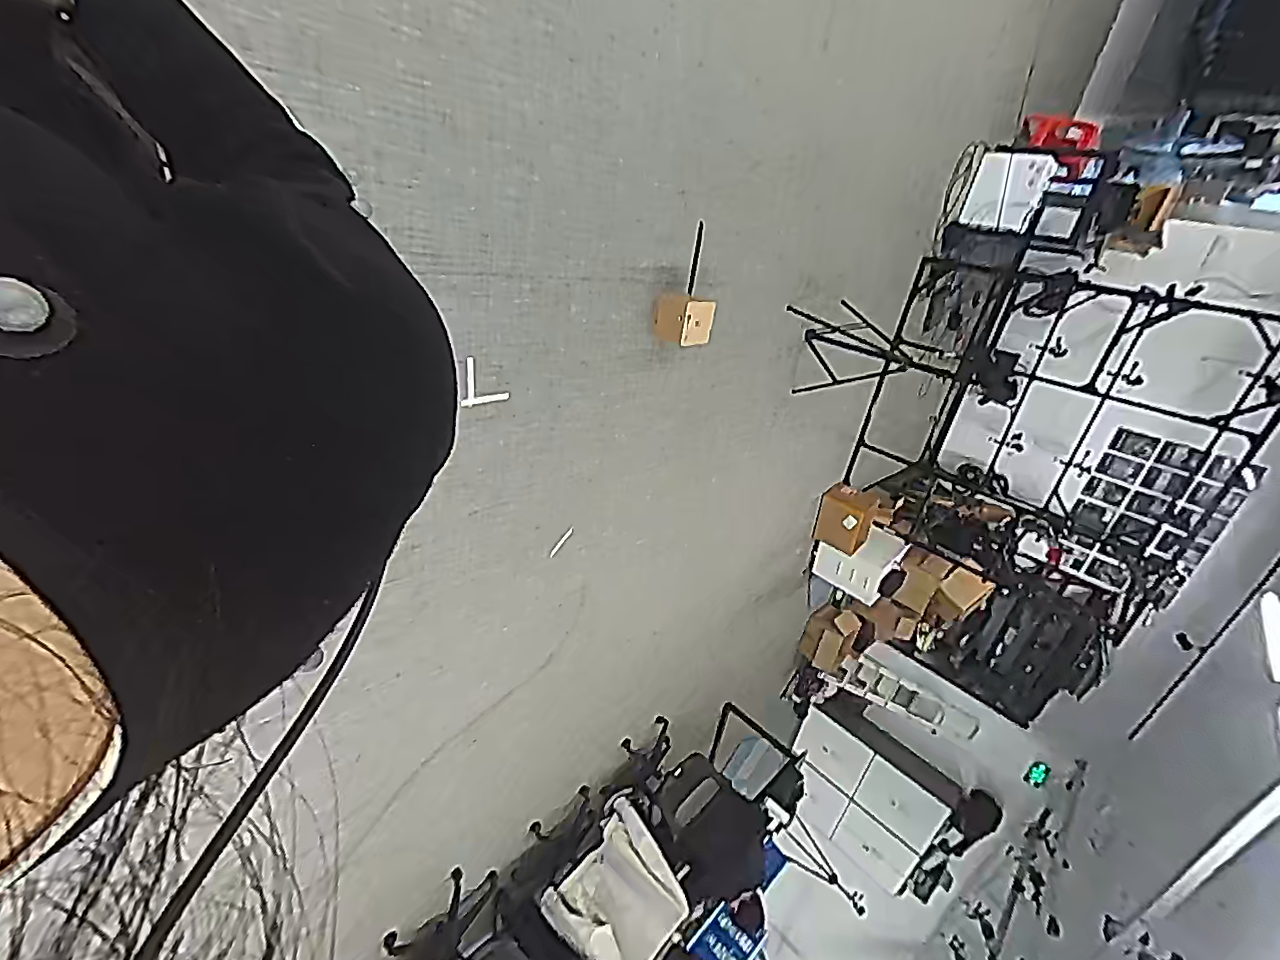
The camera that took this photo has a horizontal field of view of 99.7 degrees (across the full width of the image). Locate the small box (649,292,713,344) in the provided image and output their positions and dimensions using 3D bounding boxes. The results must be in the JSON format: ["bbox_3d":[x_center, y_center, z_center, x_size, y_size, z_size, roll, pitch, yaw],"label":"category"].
[{"bbox_3d":[0.161,-0.650,2.151,0.179,0.176,0.168,-20,129,-43],"label":"small box"}]
